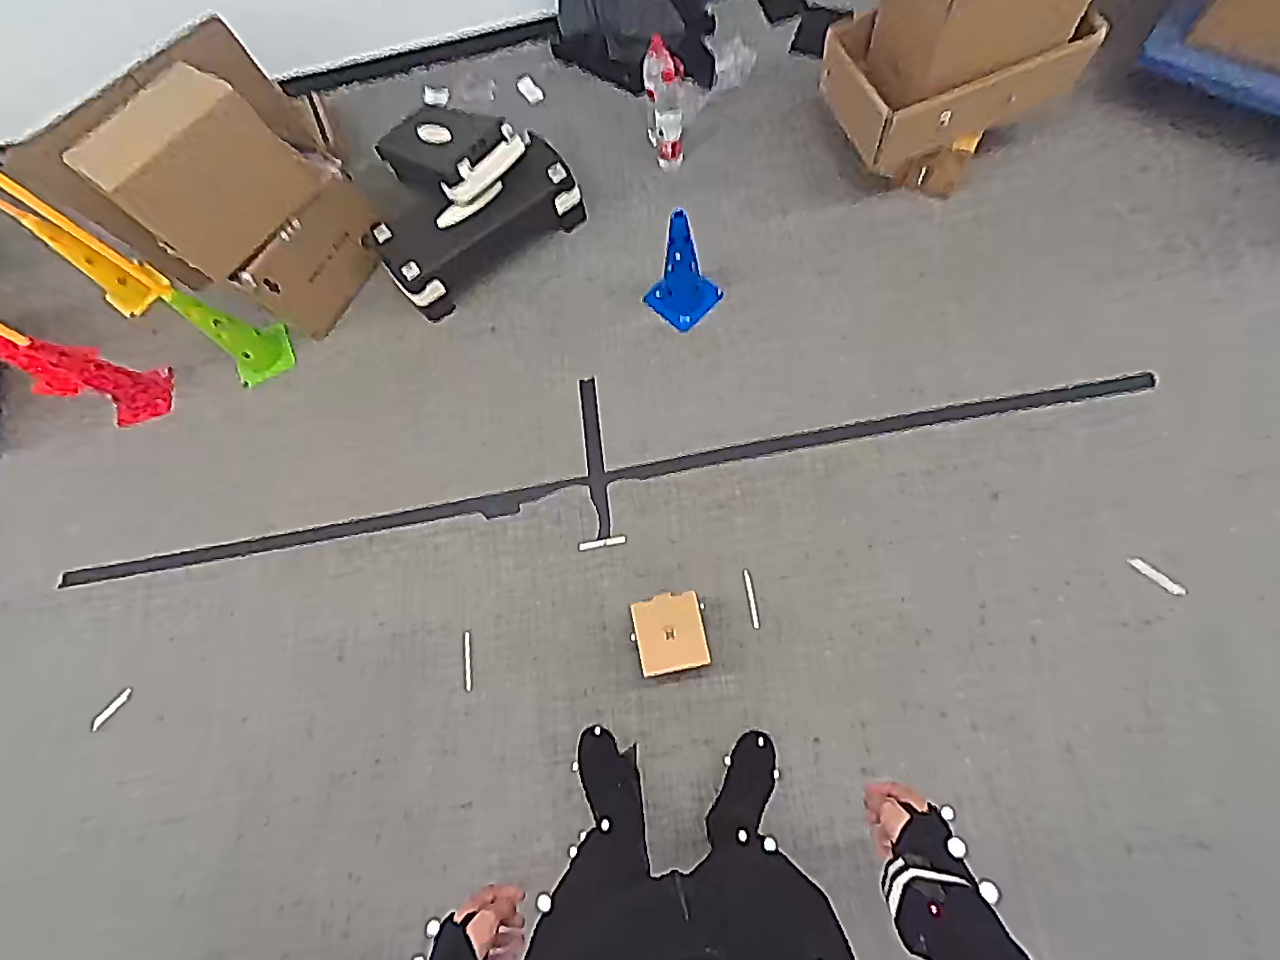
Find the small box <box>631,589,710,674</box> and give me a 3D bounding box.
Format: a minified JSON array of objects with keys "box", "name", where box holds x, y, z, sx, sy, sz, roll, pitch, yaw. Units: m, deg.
[{"box":[0.082,0.386,1.379,0.168,0.176,0.179,-13,72,3],"name":"small box"}]
